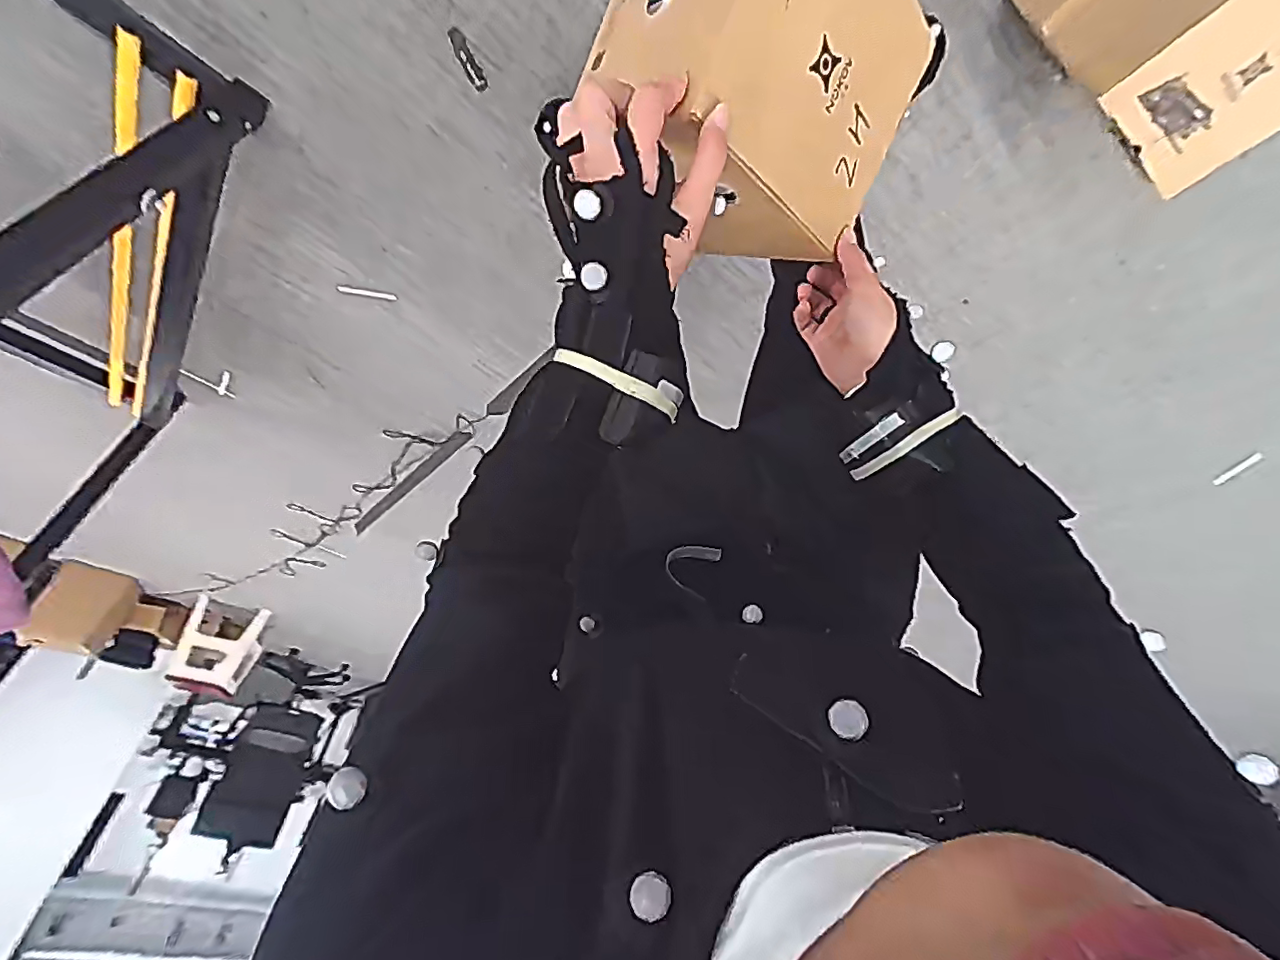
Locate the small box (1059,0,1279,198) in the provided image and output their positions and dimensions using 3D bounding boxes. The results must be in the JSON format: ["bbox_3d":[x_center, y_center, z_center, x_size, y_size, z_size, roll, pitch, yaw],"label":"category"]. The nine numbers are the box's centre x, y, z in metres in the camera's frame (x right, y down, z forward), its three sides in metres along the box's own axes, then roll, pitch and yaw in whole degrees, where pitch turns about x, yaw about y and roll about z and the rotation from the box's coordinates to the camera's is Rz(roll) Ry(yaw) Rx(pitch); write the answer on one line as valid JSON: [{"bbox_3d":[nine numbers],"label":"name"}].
[{"bbox_3d":[0.582,-0.452,0.568,0.168,0.176,0.179,28,139,-26],"label":"small box"}]

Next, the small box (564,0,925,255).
[{"bbox_3d":[0.070,-0.290,0.409,0.179,0.168,0.176,17,-170,-42],"label":"small box"}]
